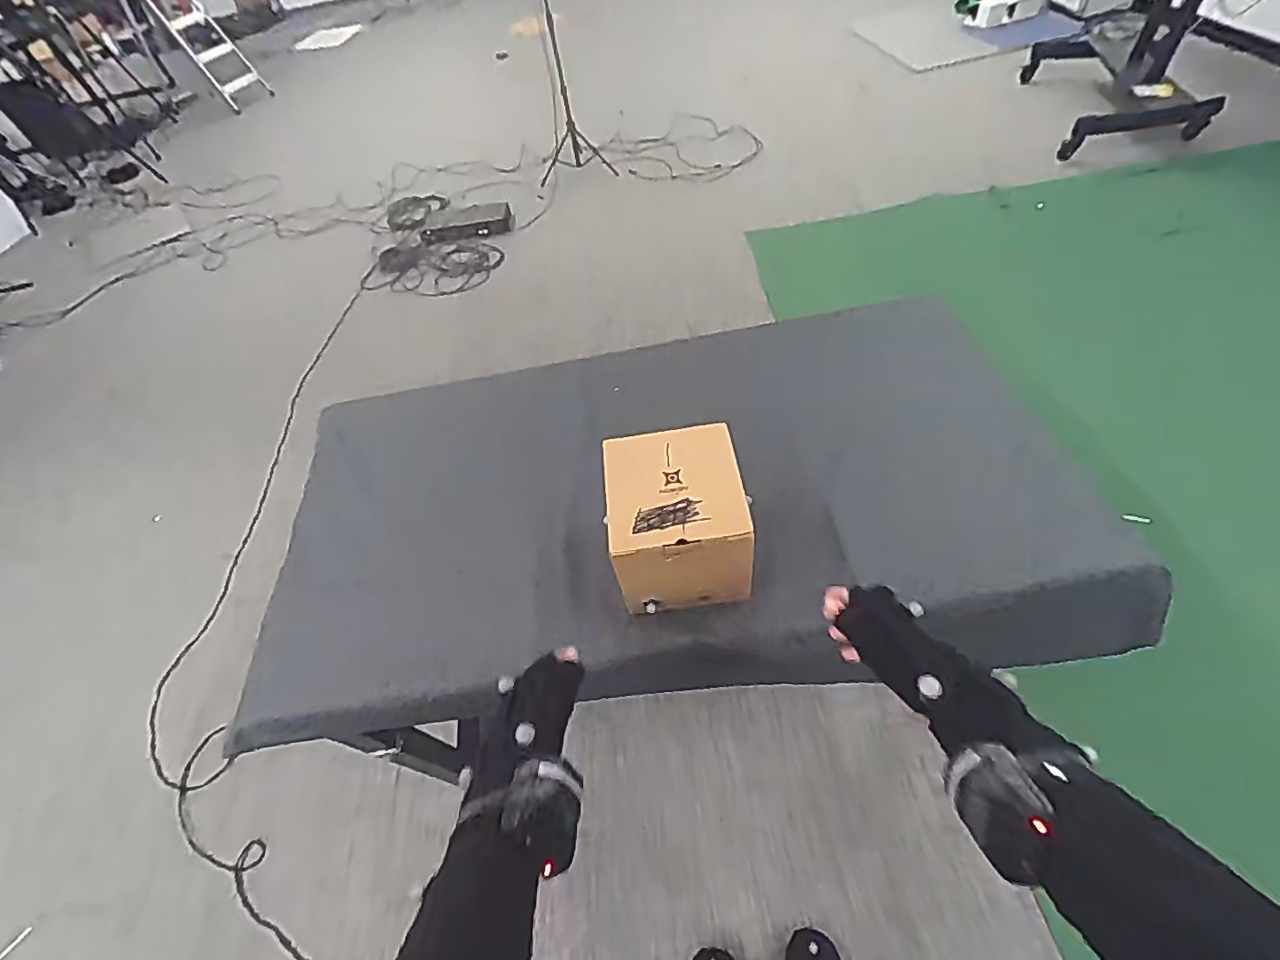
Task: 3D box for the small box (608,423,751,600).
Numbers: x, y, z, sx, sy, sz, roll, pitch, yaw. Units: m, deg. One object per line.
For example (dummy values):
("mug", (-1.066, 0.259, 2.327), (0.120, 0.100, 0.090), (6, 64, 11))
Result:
("small box", (0.052, 0.050, 0.727), (0.168, 0.176, 0.179), (-7, 52, 3))
